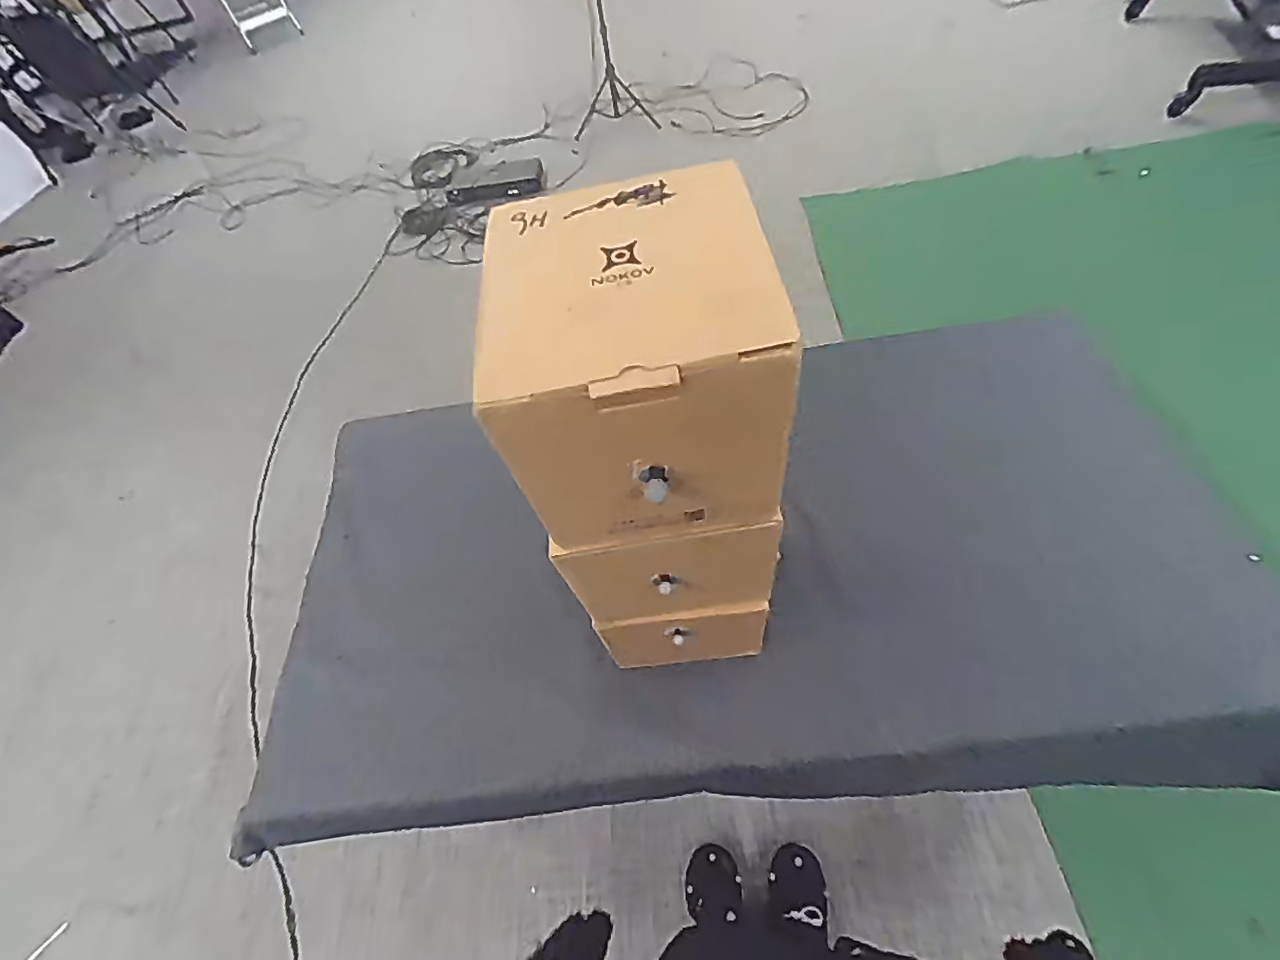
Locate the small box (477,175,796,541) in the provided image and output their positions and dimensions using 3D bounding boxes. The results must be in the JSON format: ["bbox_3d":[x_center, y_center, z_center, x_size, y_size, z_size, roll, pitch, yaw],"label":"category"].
[{"bbox_3d":[0.002,-0.069,0.375,0.168,0.176,0.179,-9,58,4],"label":"small box"}]

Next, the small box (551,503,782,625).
[{"bbox_3d":[0.023,0.025,0.508,0.179,0.176,0.168,-10,57,5],"label":"small box"}]

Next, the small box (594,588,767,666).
[{"bbox_3d":[0.045,0.115,0.643,0.179,0.176,0.168,-7,58,3],"label":"small box"}]
